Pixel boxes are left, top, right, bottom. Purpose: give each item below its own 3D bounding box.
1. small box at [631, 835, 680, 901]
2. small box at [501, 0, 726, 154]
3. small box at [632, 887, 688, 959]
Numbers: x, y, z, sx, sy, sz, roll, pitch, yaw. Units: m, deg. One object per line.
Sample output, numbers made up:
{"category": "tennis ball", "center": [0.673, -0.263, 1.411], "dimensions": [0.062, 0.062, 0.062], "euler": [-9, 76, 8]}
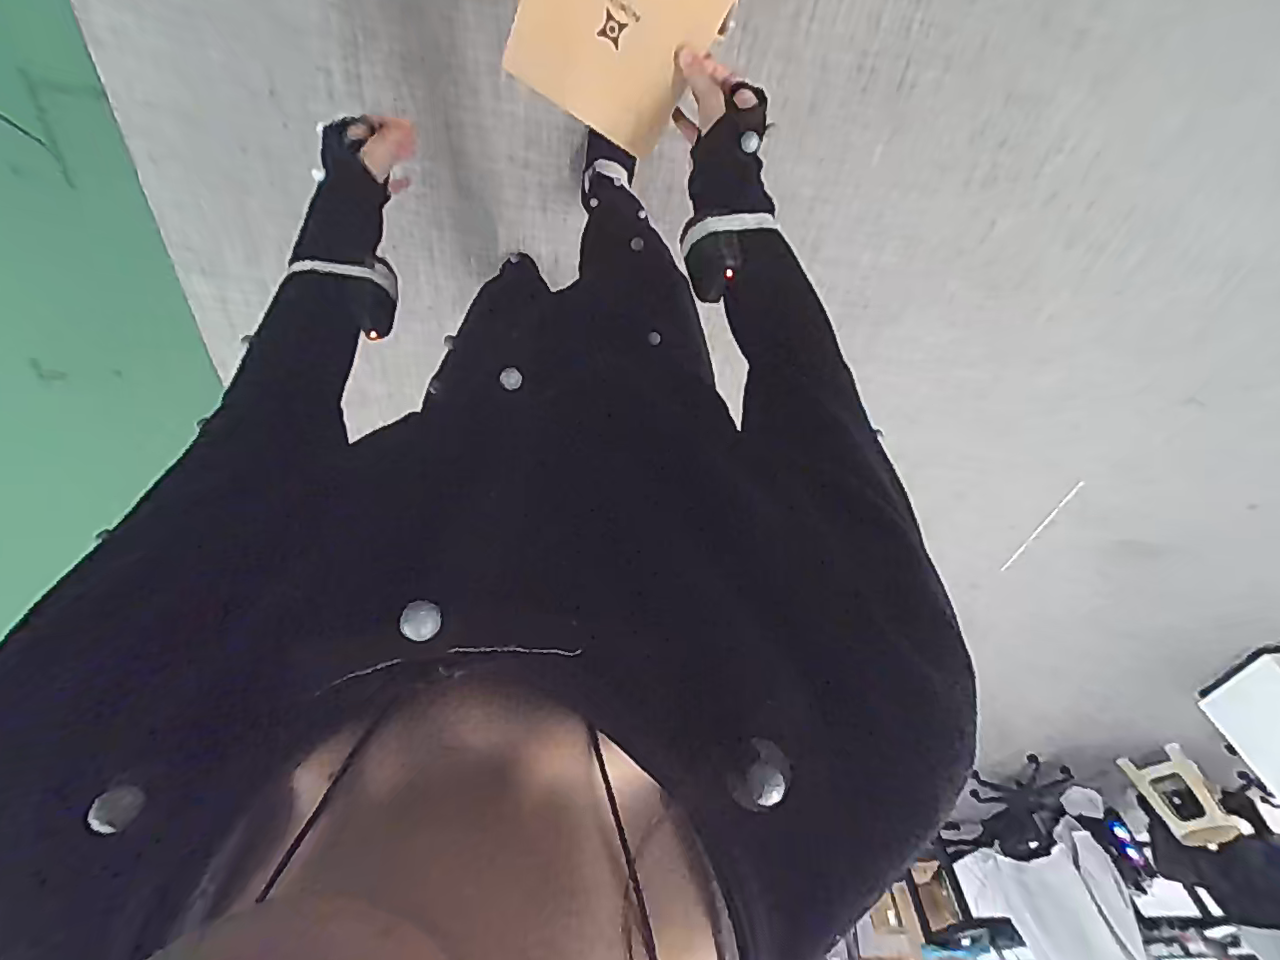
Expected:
{"category": "small box", "center": [0.052, 1.420, 1.980], "dimensions": [0.168, 0.176, 0.179], "euler": [2, 132, -2]}
{"category": "small box", "center": [-0.012, -0.478, 0.535], "dimensions": [0.168, 0.176, 0.179], "euler": [26, 138, -17]}
{"category": "small box", "center": [0.062, 1.509, 1.841], "dimensions": [0.179, 0.176, 0.168], "euler": [1, 131, -3]}
